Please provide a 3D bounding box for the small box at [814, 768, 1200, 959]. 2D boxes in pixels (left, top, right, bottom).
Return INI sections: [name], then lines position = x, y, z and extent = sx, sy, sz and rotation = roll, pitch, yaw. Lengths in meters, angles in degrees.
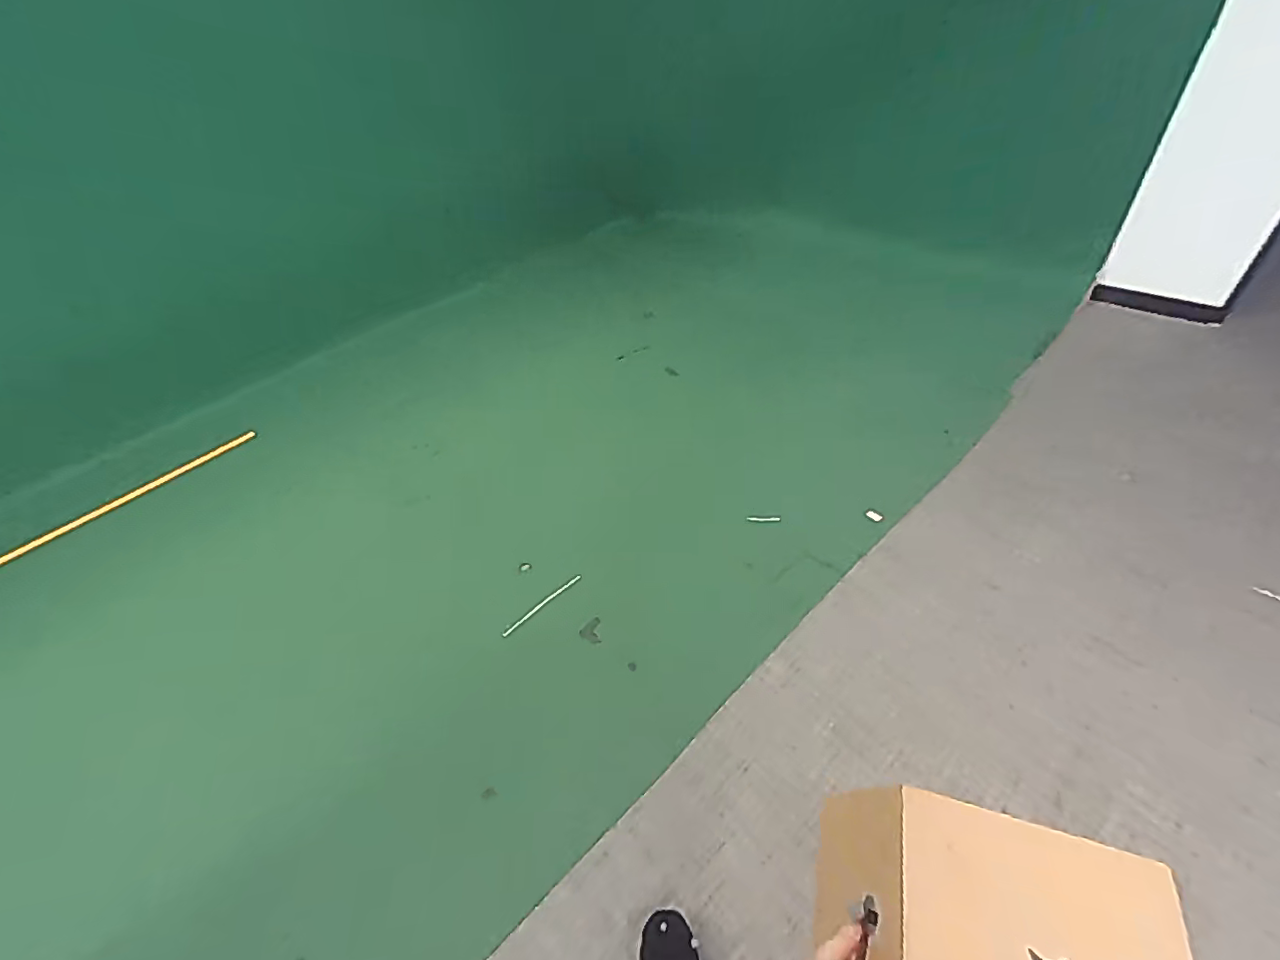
[small box]
position = 0.226, 0.324, 0.365
extent = 0.168, 0.176, 0.179
rotation = 15, 56, 7
